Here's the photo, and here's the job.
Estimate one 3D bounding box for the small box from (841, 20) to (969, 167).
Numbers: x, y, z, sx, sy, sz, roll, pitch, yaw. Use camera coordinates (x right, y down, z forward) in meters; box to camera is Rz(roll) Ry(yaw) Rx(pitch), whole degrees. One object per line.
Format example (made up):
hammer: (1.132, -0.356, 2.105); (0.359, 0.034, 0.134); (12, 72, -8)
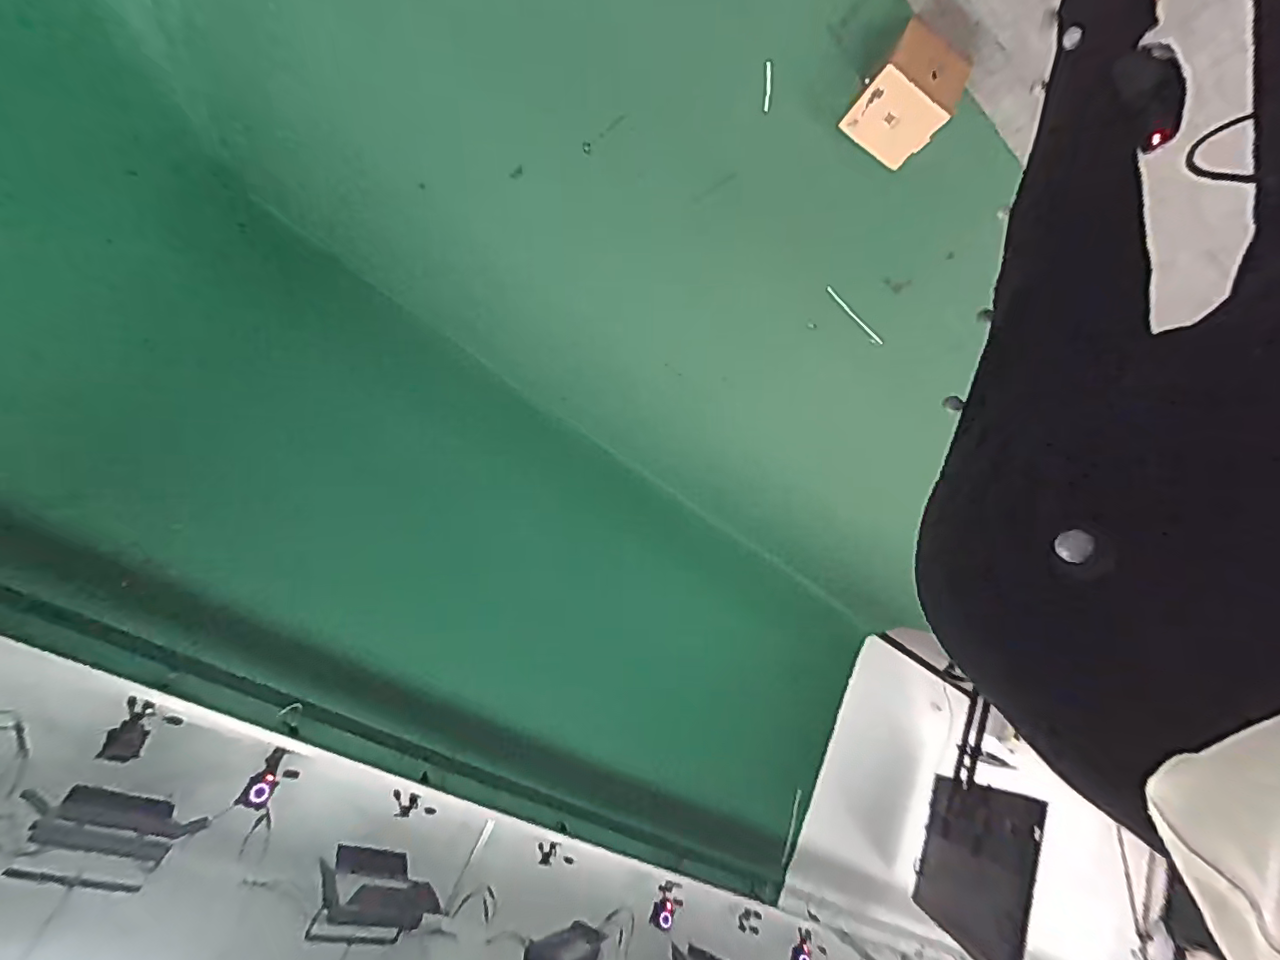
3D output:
small box: (0.591, -0.860, 1.204); (0.179, 0.176, 0.168); (30, 162, -11)
